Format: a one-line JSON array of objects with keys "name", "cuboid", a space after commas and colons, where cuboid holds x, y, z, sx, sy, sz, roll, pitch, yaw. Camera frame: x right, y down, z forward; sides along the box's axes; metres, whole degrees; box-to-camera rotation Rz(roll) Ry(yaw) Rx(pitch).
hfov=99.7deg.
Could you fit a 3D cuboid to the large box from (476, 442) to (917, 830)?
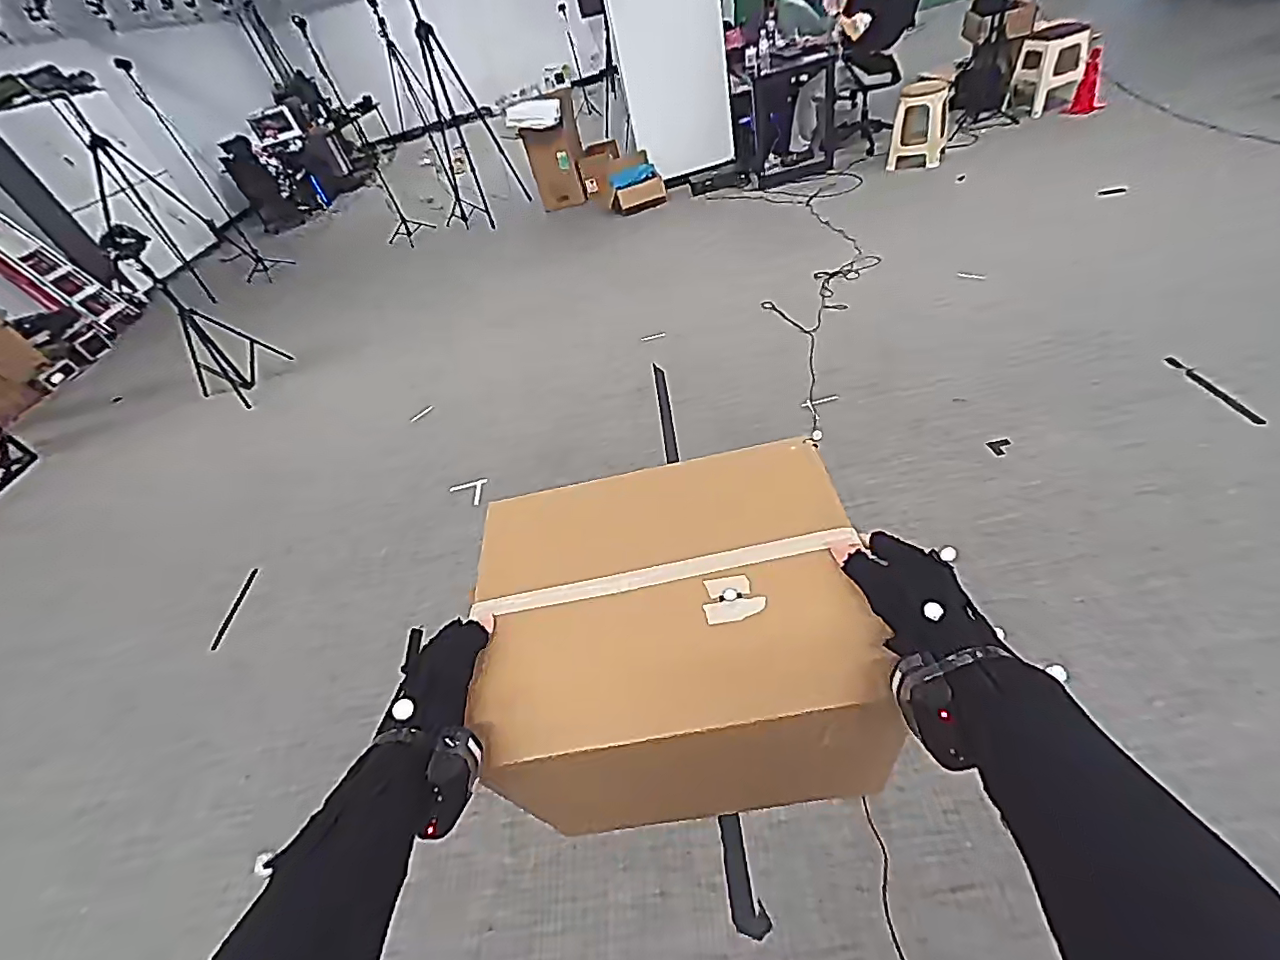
[{"name": "large box", "cuboid": [0.057, 0.202, 0.678, 0.408, 0.320, 0.320, -12, 47, 4]}]
